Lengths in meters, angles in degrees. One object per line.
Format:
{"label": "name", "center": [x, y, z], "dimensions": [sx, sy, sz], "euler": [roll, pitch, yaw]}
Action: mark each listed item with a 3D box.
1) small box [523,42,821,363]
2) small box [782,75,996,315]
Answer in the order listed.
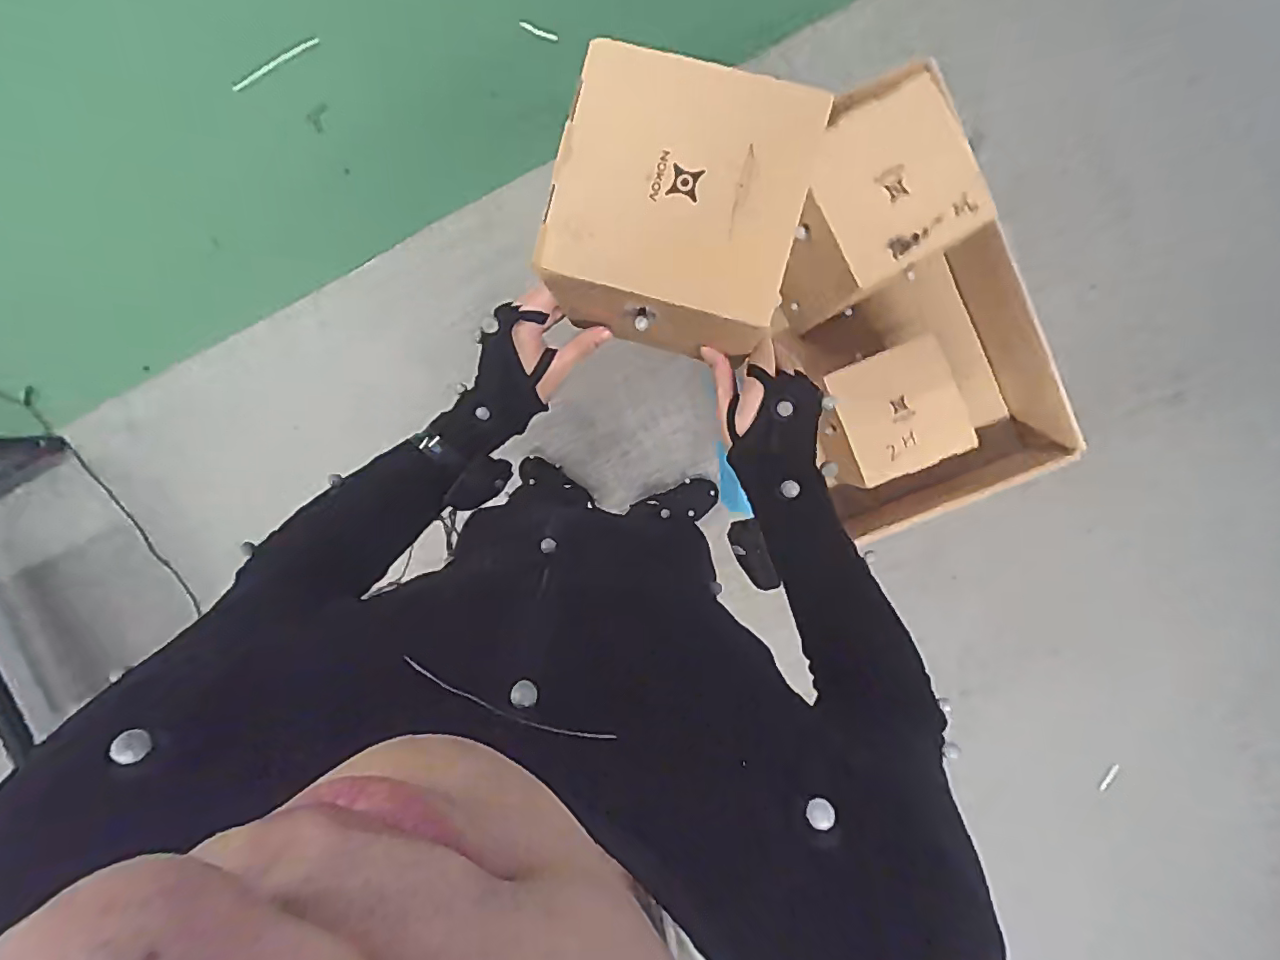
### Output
{"label": "small box", "center": [0.025, -0.209, 0.457], "dimensions": [0.179, 0.176, 0.168], "euler": [15, 92, 2]}
{"label": "small box", "center": [0.284, -0.332, 0.672], "dimensions": [0.168, 0.176, 0.179], "euler": [-28, 93, 7]}
